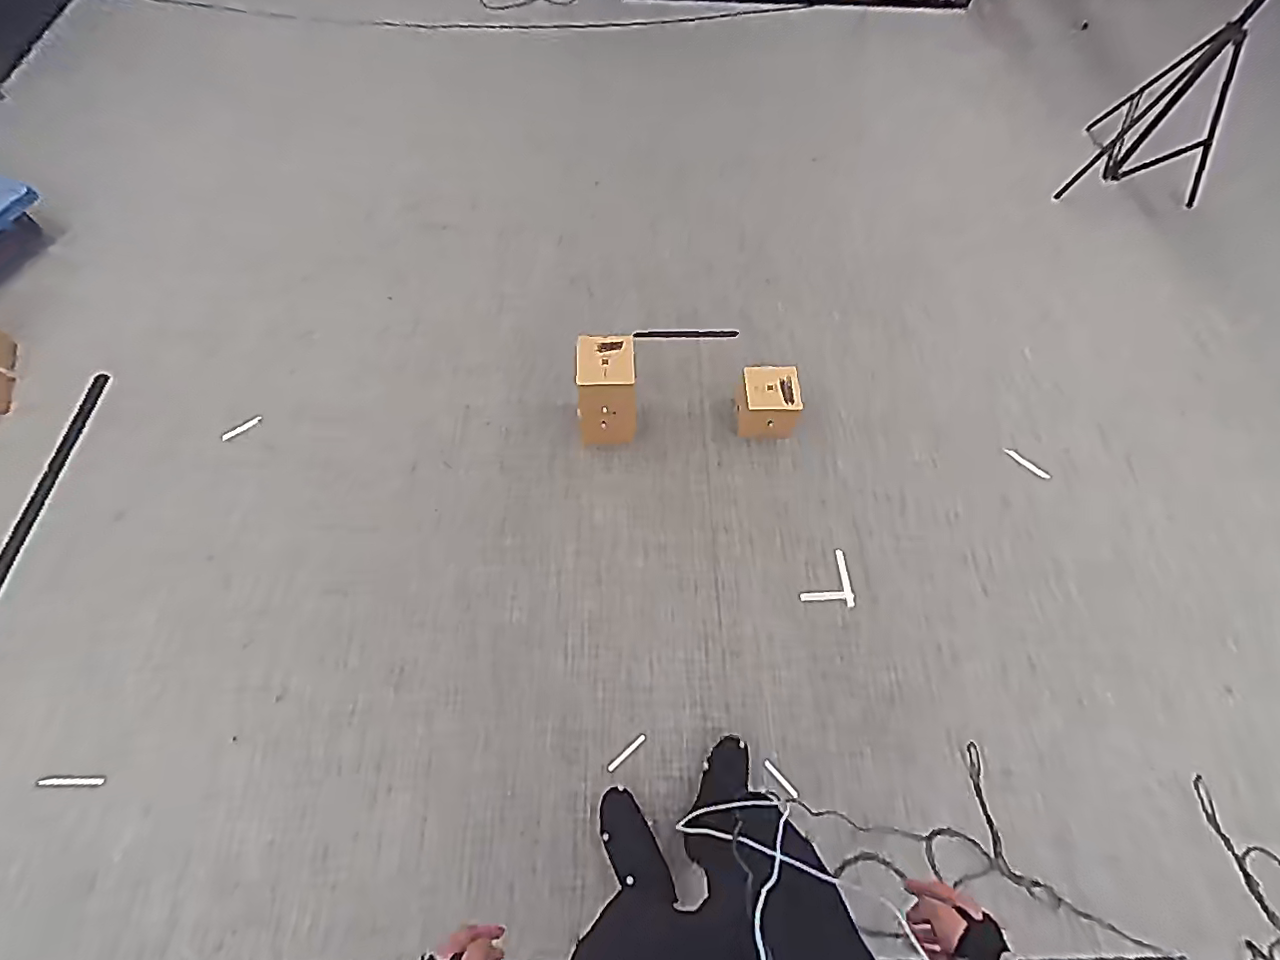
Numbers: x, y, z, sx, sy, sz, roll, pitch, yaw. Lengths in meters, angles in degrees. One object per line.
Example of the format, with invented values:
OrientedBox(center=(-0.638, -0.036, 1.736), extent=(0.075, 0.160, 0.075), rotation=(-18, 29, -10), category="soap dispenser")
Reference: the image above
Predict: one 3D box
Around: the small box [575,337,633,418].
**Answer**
OrientedBox(center=(-0.105, -0.304, 1.614), extent=(0.168, 0.176, 0.179), rotation=(-1, 65, -2), category="small box")

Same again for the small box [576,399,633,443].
OrientedBox(center=(-0.114, -0.230, 1.760), extent=(0.179, 0.176, 0.168), rotation=(-2, 64, -2), category="small box")
